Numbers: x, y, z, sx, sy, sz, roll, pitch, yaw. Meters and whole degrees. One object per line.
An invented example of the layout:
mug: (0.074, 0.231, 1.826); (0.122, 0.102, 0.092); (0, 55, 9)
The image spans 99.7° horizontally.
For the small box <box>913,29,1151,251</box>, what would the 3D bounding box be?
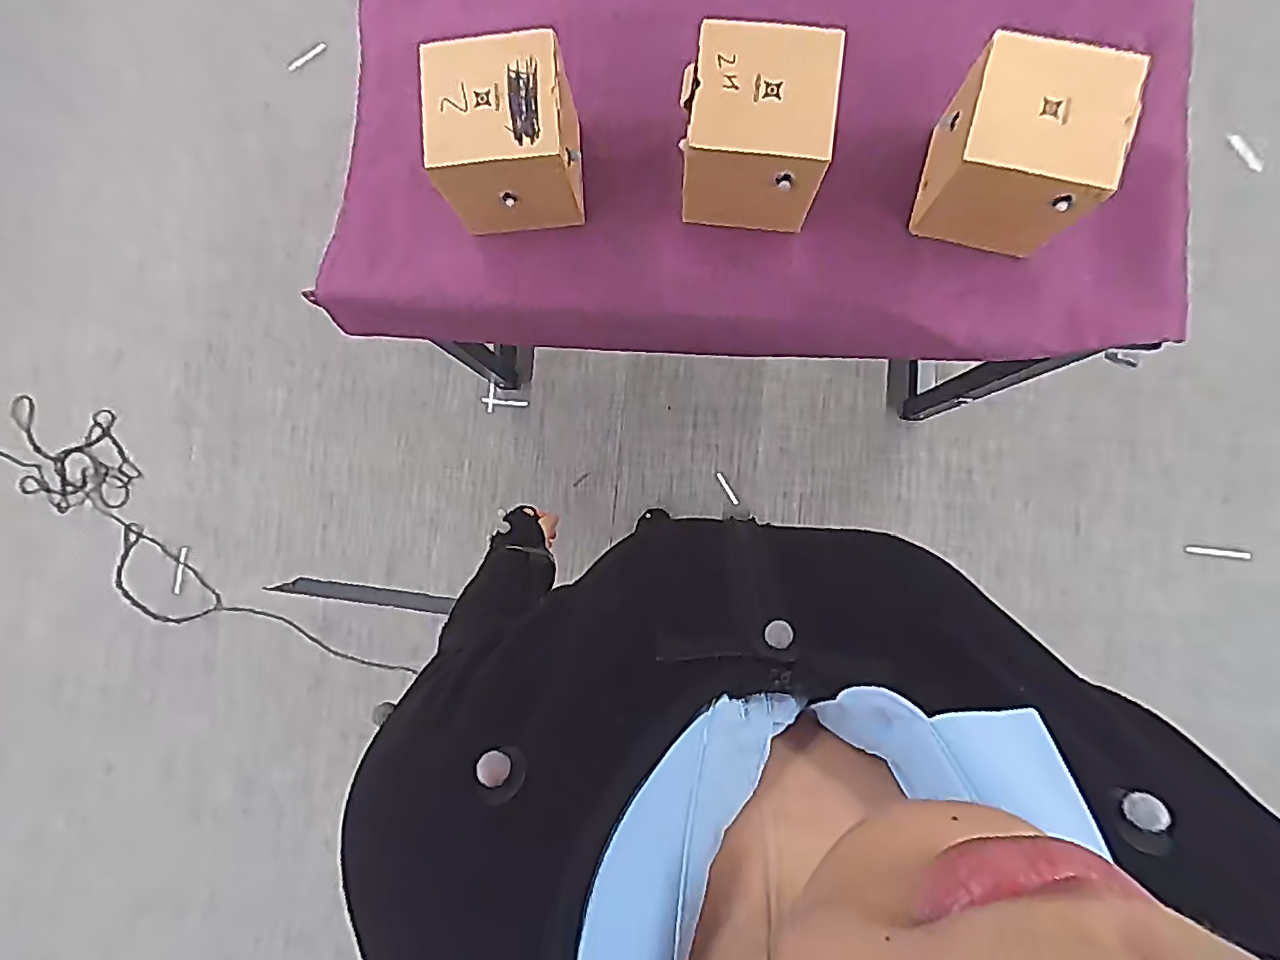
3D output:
small box: (0.486, -0.424, 0.701); (0.179, 0.176, 0.168); (15, 88, 5)

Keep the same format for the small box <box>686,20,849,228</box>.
small box: (0.159, -0.462, 0.727); (0.179, 0.176, 0.168); (7, 86, 5)
